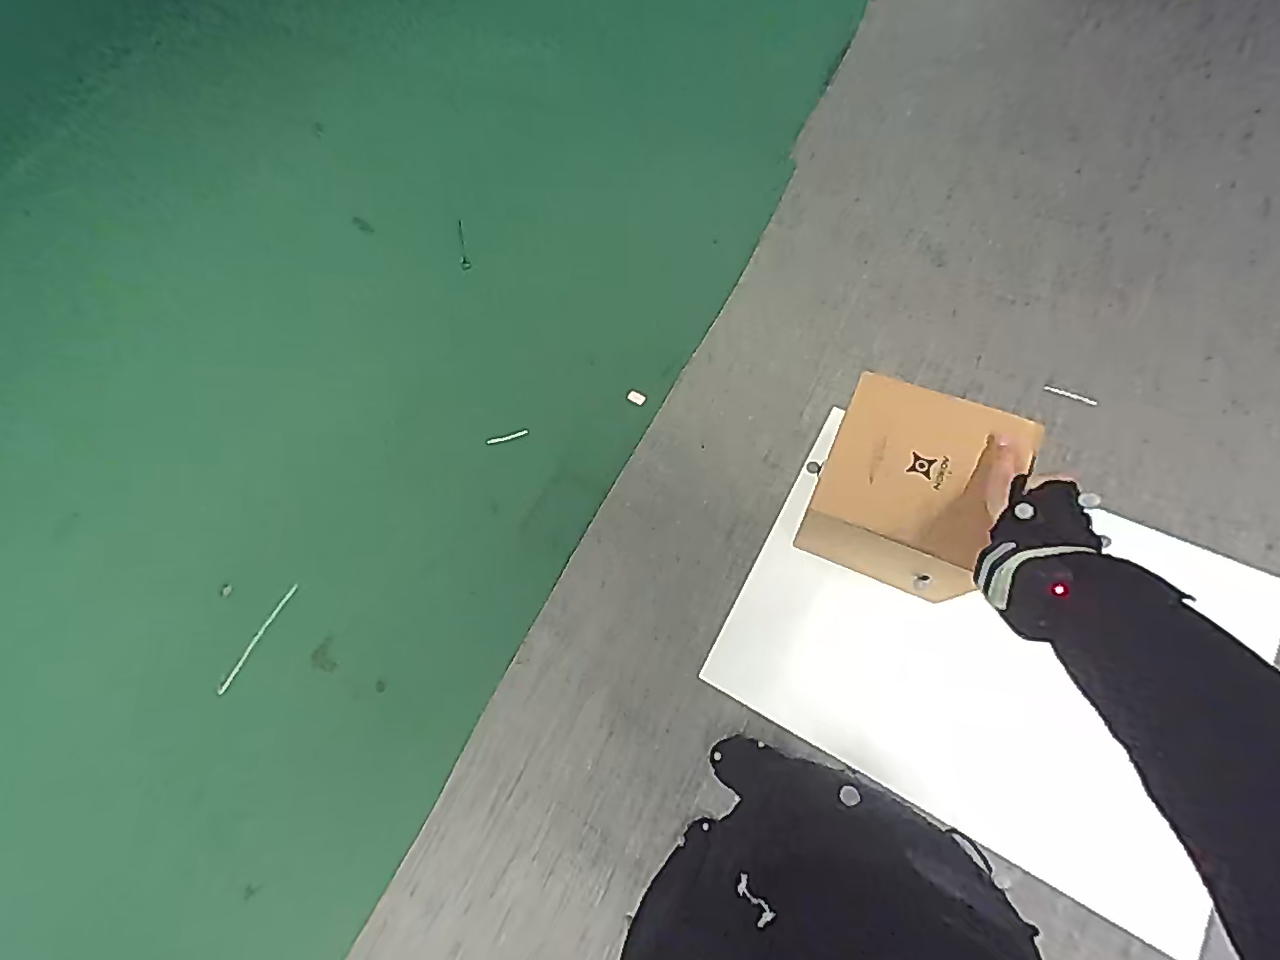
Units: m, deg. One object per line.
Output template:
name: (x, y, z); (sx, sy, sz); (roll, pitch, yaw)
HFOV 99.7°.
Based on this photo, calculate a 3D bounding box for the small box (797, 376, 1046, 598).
small box: (0.288, 0.018, 0.592); (0.179, 0.176, 0.168); (21, 74, 17)
